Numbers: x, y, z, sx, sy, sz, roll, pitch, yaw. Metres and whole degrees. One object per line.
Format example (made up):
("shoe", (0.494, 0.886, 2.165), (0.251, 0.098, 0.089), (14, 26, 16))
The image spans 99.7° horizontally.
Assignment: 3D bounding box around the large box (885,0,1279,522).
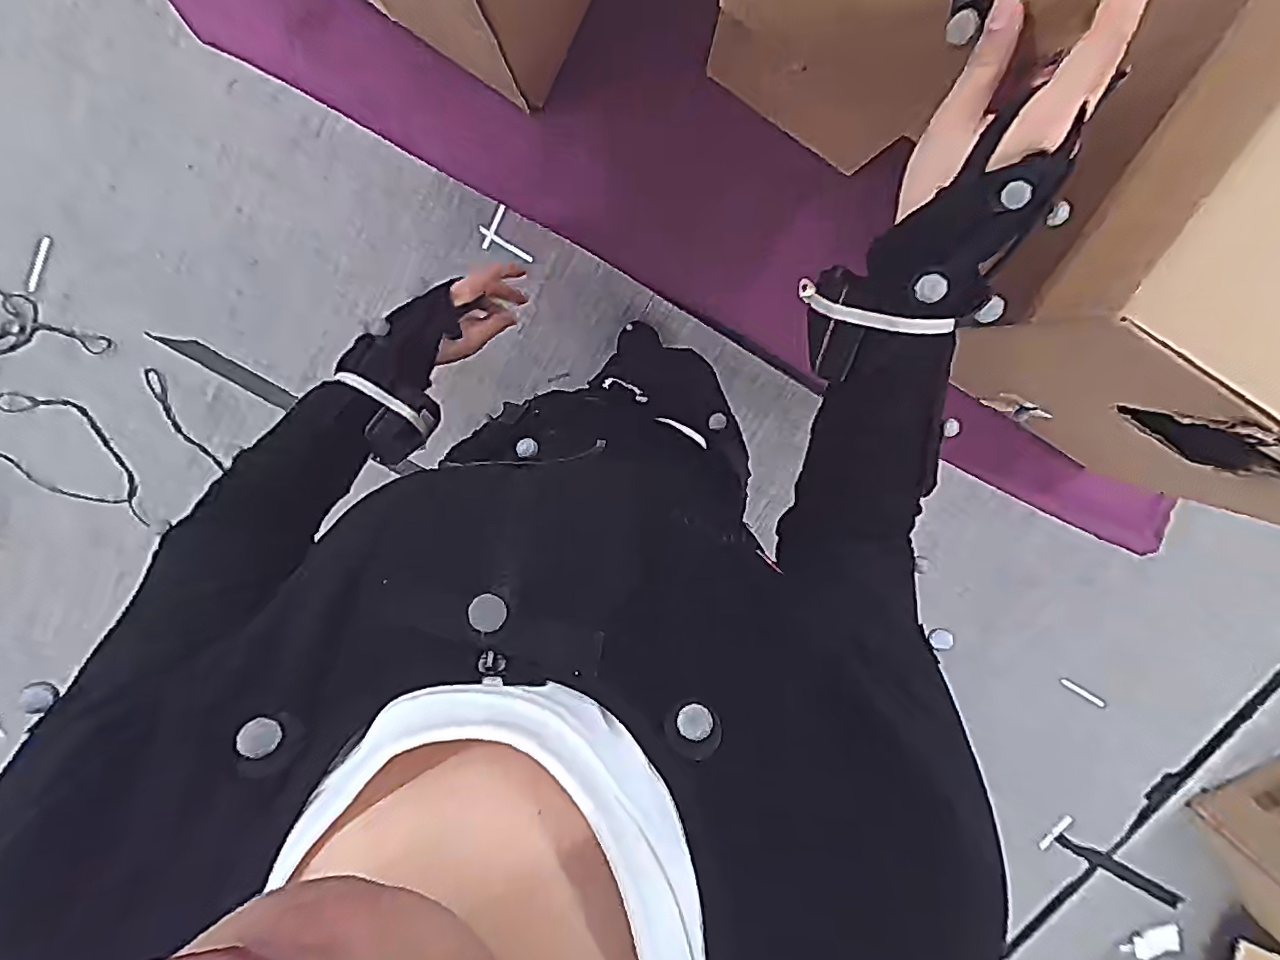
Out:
("large box", (0.479, -0.209, 0.408), (0.320, 0.320, 0.408), (29, 101, -8))
